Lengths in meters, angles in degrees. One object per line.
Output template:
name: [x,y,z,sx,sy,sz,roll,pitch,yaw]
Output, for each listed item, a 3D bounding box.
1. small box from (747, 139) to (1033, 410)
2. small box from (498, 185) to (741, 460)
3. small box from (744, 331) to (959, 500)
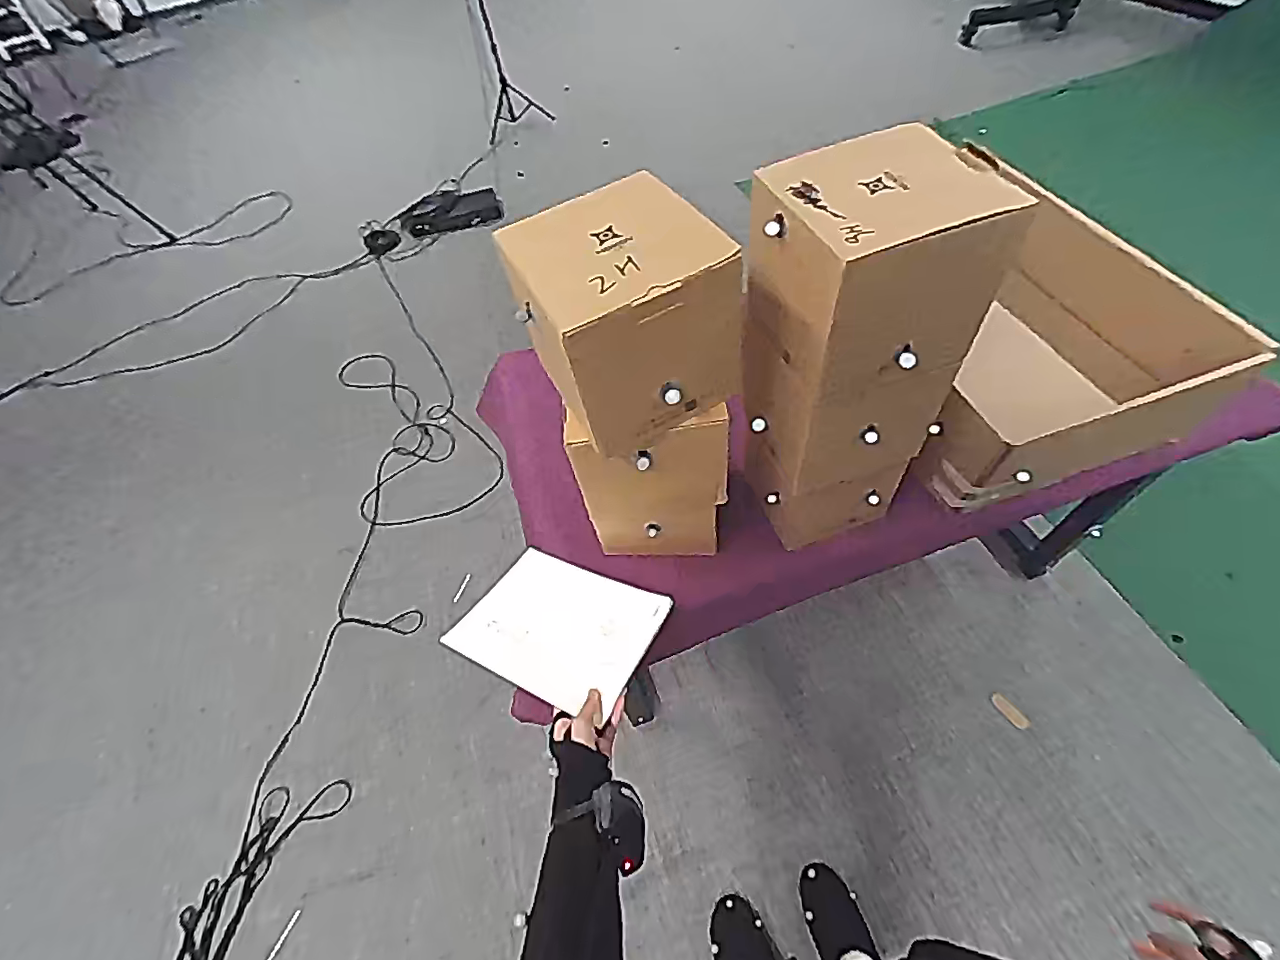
small box: [0.219,-0.198,0.534,0.179,0.176,0.168,-18,53,-6]
small box: [-0.016,-0.153,0.540,0.168,0.176,0.179,-27,56,-9]
small box: [0.239,-0.102,0.667,0.179,0.176,0.168,-18,53,-4]
